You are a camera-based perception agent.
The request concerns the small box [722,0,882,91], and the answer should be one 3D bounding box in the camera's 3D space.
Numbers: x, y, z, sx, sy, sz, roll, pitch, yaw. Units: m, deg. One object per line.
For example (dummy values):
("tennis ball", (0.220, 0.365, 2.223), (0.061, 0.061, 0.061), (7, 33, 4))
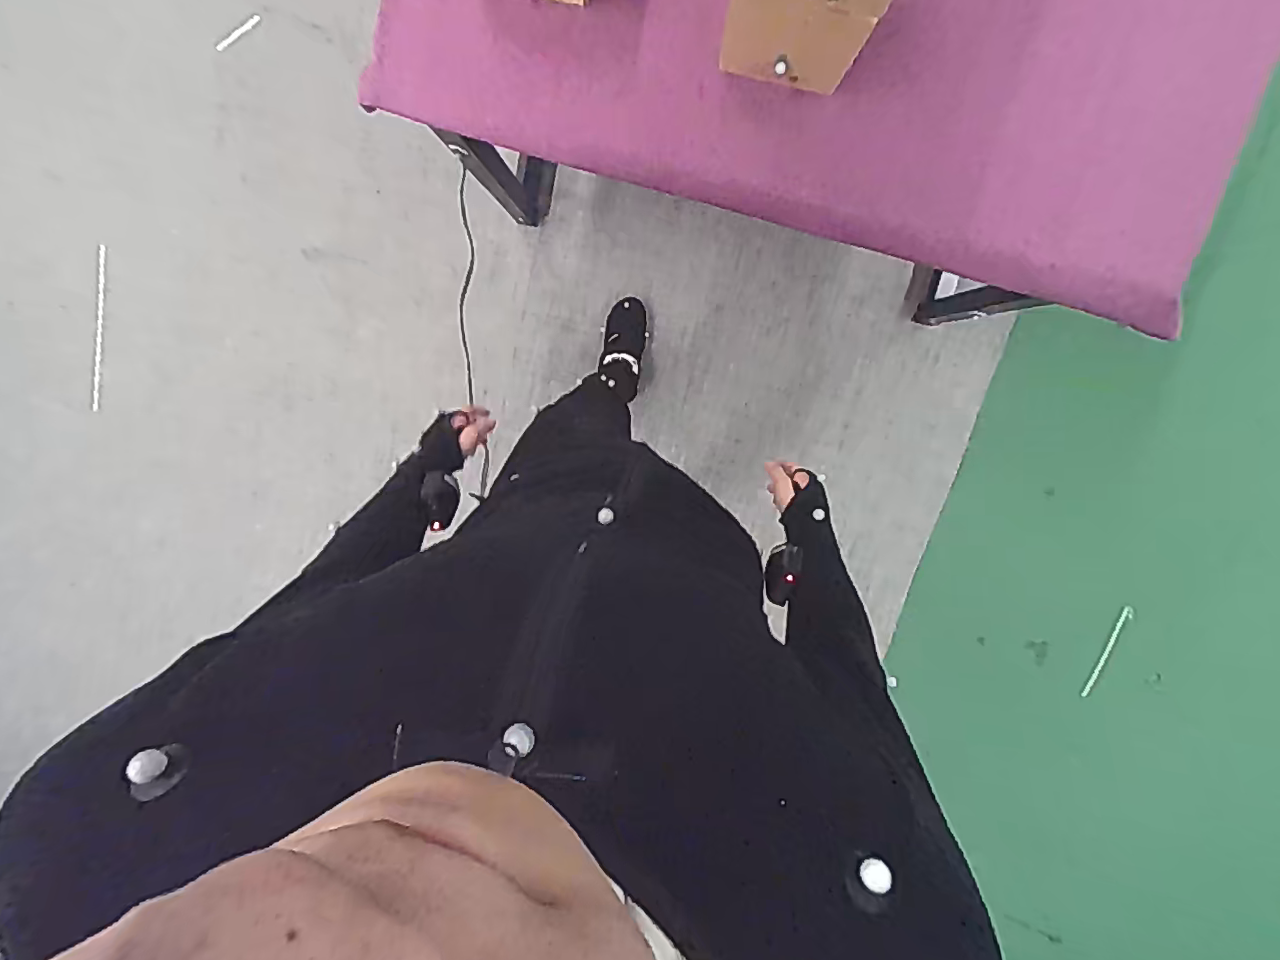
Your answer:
("small box", (0.203, -0.623, 0.654), (0.168, 0.176, 0.179), (13, 101, -1))
